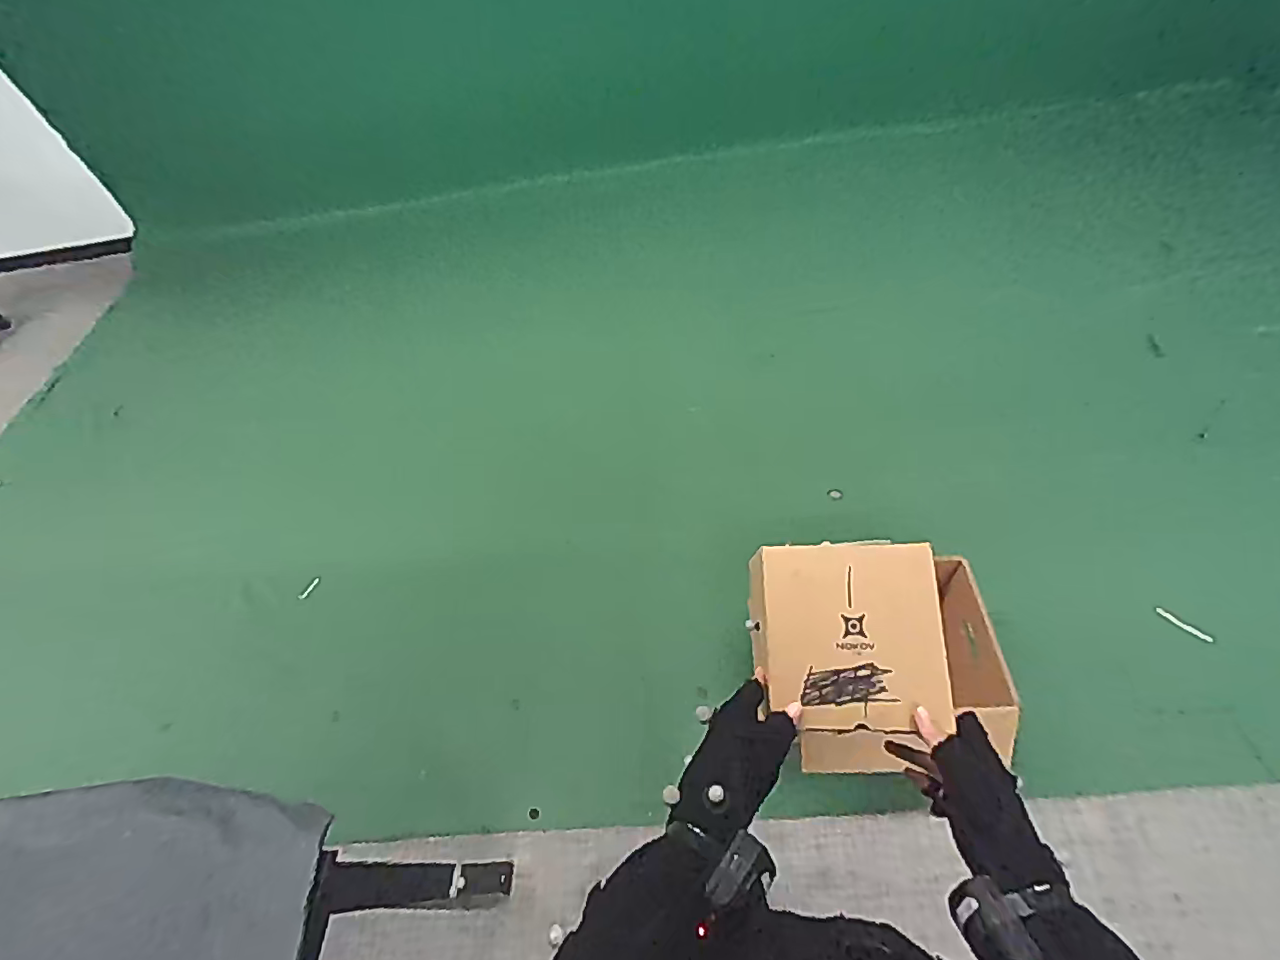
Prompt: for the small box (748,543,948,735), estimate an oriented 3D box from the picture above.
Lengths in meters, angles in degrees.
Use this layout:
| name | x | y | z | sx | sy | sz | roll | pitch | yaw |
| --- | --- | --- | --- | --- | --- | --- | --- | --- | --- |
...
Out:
| name | x | y | z | sx | sy | sz | roll | pitch | yaw |
| --- | --- | --- | --- | --- | --- | --- | --- | --- | --- |
| small box | 0.210 | 0.166 | 0.595 | 0.168 | 0.176 | 0.179 | -1 | 75 | 6 |
